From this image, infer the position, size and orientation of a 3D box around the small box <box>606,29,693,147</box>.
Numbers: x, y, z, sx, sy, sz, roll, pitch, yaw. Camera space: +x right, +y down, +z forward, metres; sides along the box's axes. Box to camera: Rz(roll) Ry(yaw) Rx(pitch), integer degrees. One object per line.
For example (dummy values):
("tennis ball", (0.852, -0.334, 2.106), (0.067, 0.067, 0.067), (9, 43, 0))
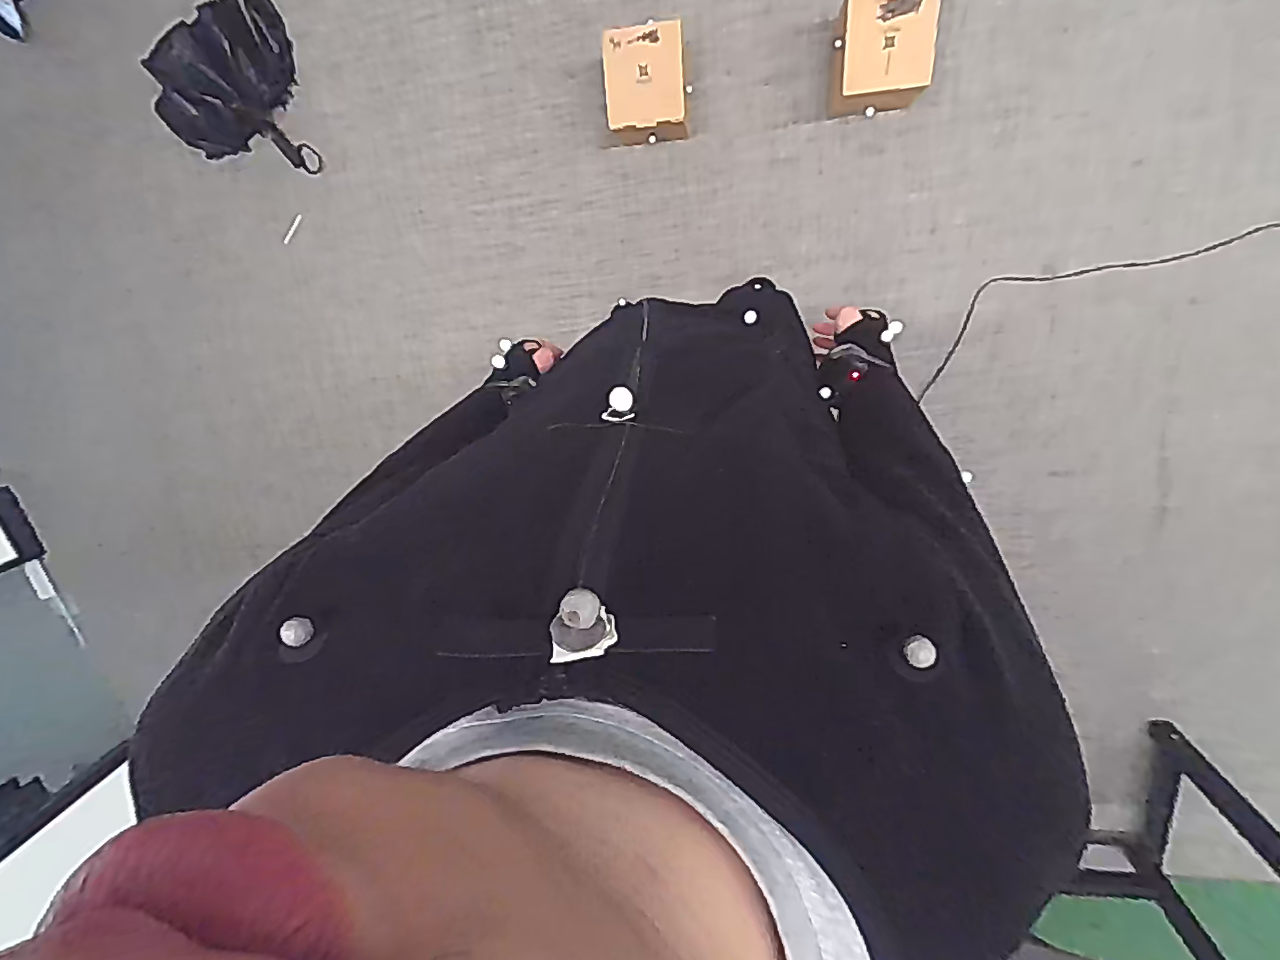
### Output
("small box", (0.029, -0.861, 1.210), (0.168, 0.176, 0.179), (0, 111, 11))

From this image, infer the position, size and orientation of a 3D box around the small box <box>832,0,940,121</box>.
("small box", (0.496, -0.868, 1.114), (0.168, 0.176, 0.179), (1, 112, 12))
